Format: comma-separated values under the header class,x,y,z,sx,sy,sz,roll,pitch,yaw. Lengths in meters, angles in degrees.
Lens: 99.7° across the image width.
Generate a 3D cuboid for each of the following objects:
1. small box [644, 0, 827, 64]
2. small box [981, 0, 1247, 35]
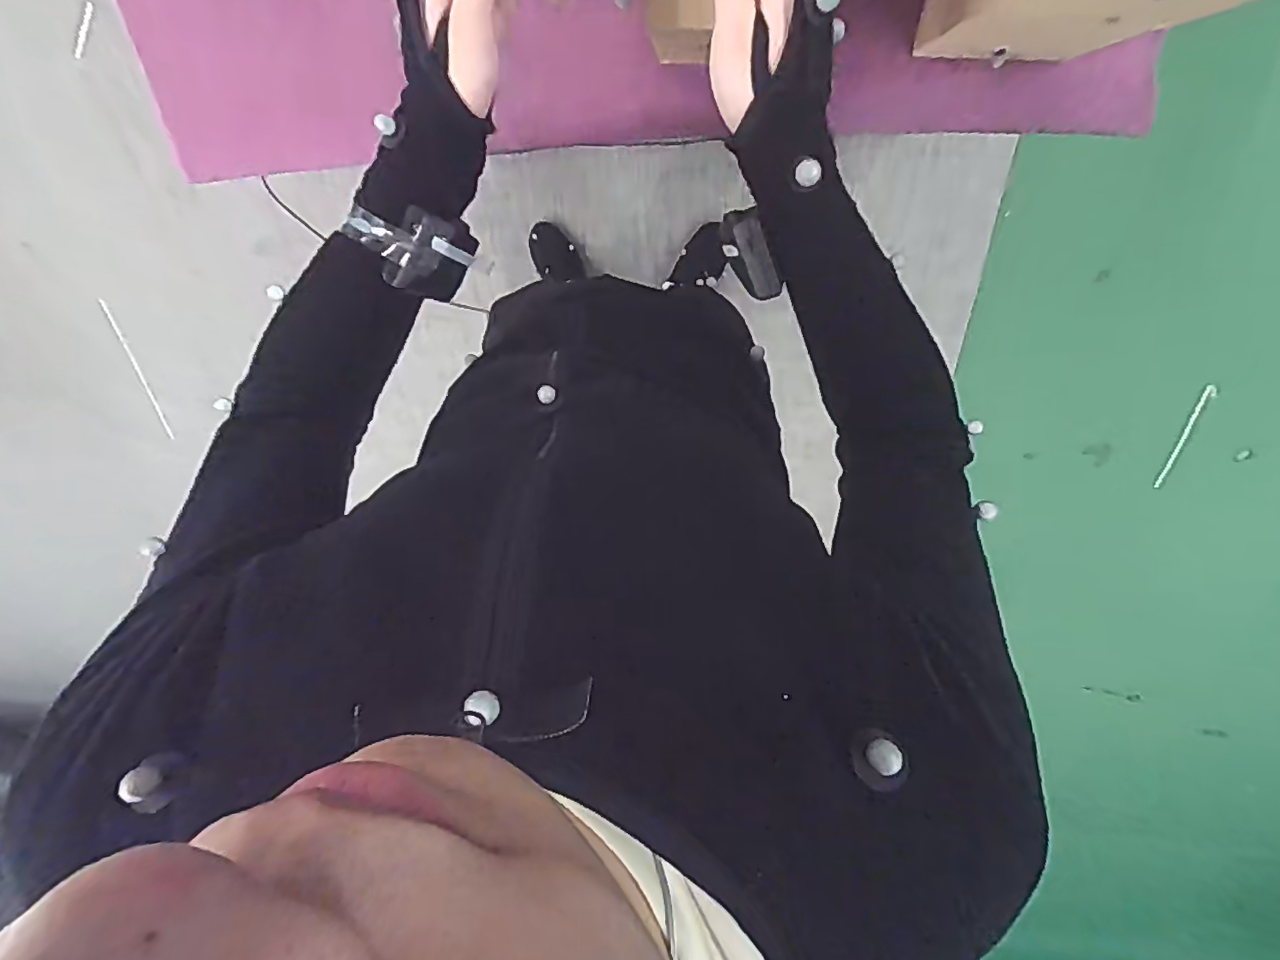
class,x,y,z,sx,sy,sz,roll,pitch,yaw
small box,0.096,-0.523,0.522,0.168,0.176,0.179,3,118,5
small box,0.361,-0.426,0.352,0.168,0.176,0.179,6,119,5
